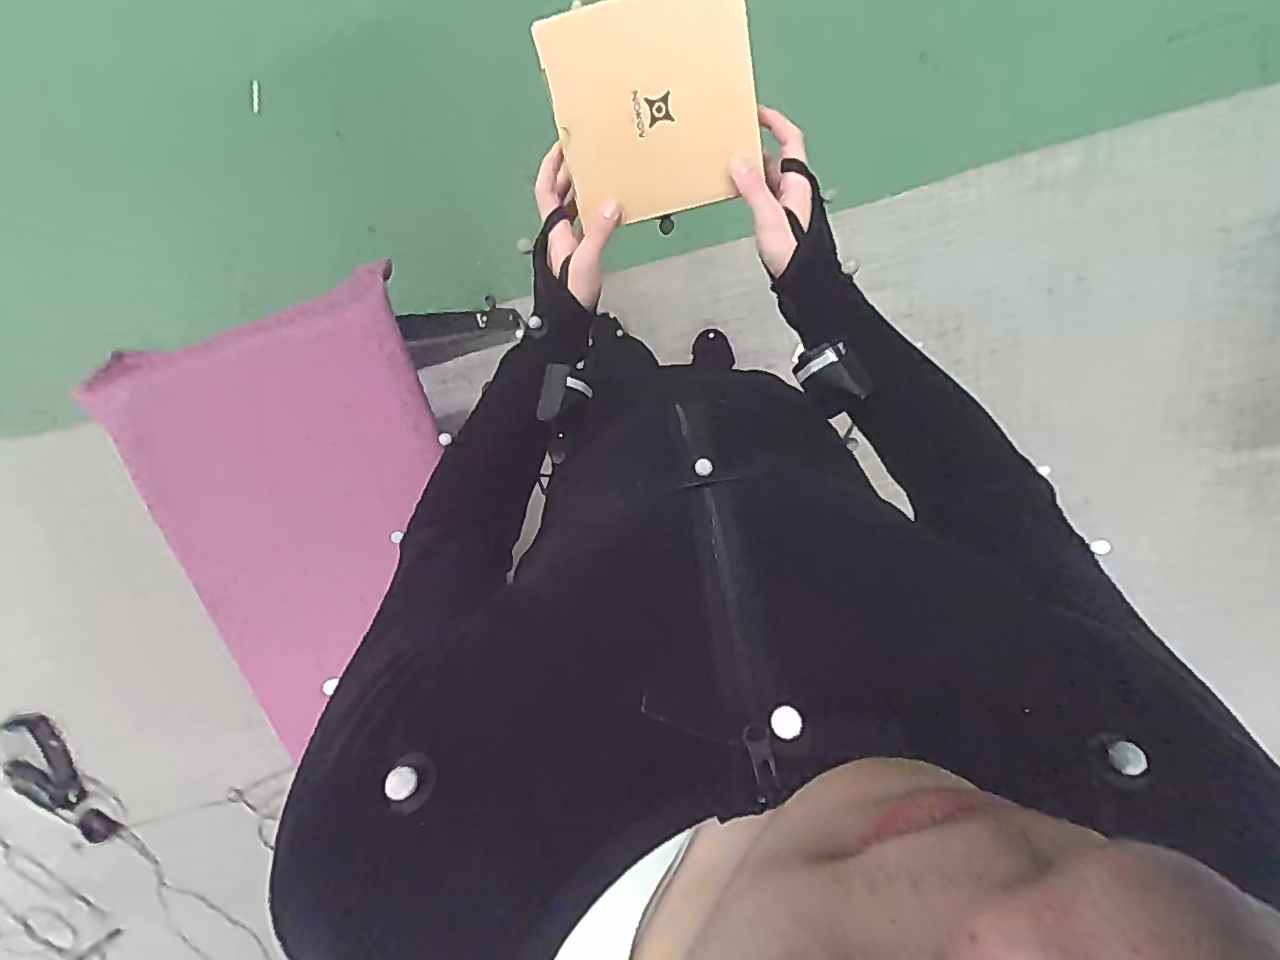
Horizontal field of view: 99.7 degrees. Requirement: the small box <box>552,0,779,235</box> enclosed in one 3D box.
[{"bbox_3d":[0.030,-0.355,0.539,0.179,0.176,0.168,-9,116,8],"label":"small box"}]
